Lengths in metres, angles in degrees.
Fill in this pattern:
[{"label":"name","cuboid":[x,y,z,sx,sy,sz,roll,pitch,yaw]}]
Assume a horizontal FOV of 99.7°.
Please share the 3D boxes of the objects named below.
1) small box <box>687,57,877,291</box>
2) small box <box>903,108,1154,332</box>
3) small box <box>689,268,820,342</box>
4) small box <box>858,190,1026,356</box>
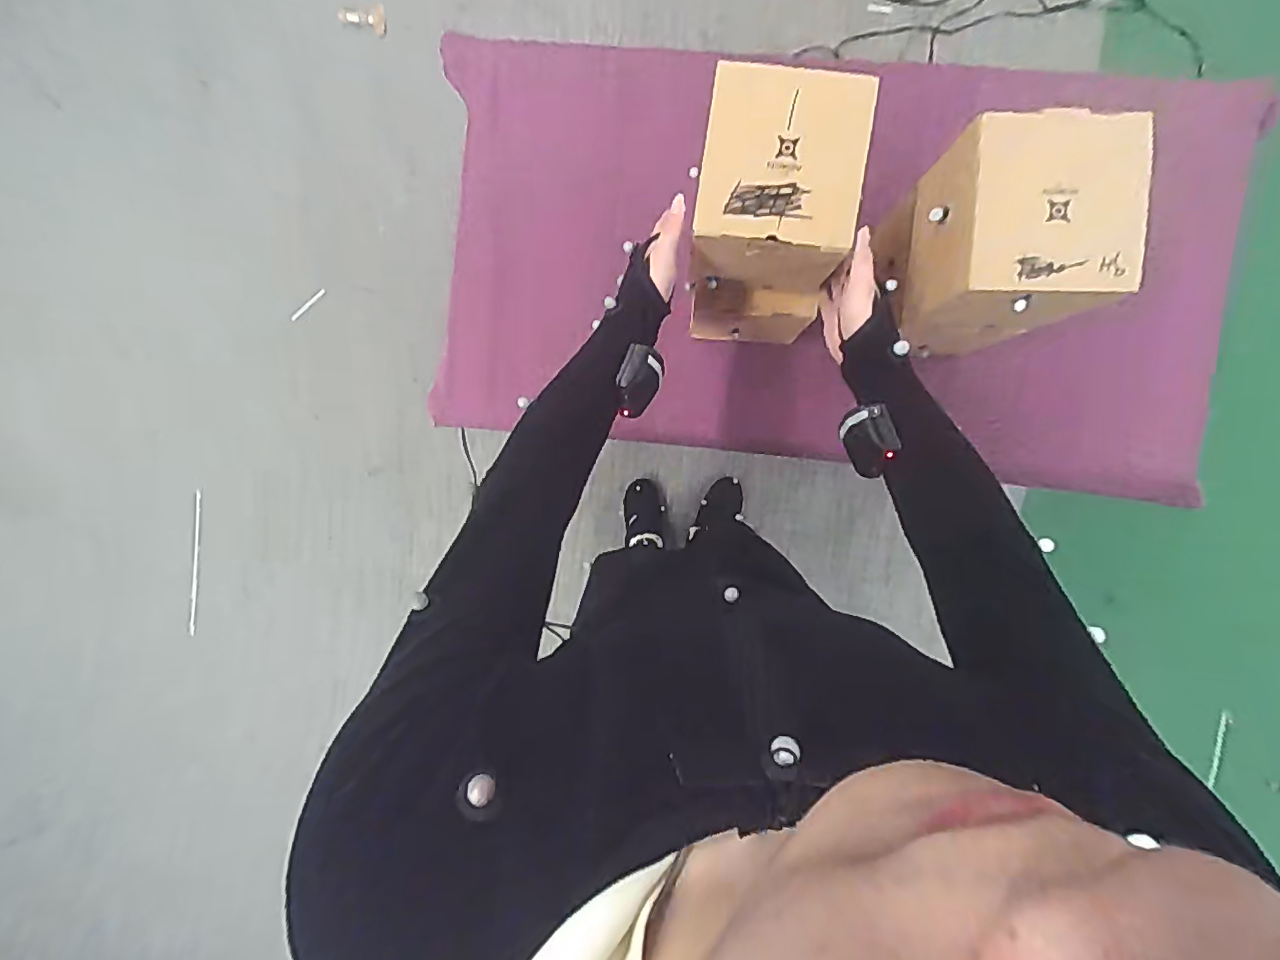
[{"label":"small box","cuboid":[0.149,-0.333,0.625,0.168,0.176,0.179,9,93,3]},{"label":"small box","cuboid":[0.416,-0.277,0.609,0.168,0.176,0.179,2,92,4]},{"label":"small box","cuboid":[0.162,-0.311,0.790,0.168,0.176,0.179,4,94,3]},{"label":"small box","cuboid":[0.425,-0.284,0.773,0.168,0.176,0.179,3,93,4]}]
